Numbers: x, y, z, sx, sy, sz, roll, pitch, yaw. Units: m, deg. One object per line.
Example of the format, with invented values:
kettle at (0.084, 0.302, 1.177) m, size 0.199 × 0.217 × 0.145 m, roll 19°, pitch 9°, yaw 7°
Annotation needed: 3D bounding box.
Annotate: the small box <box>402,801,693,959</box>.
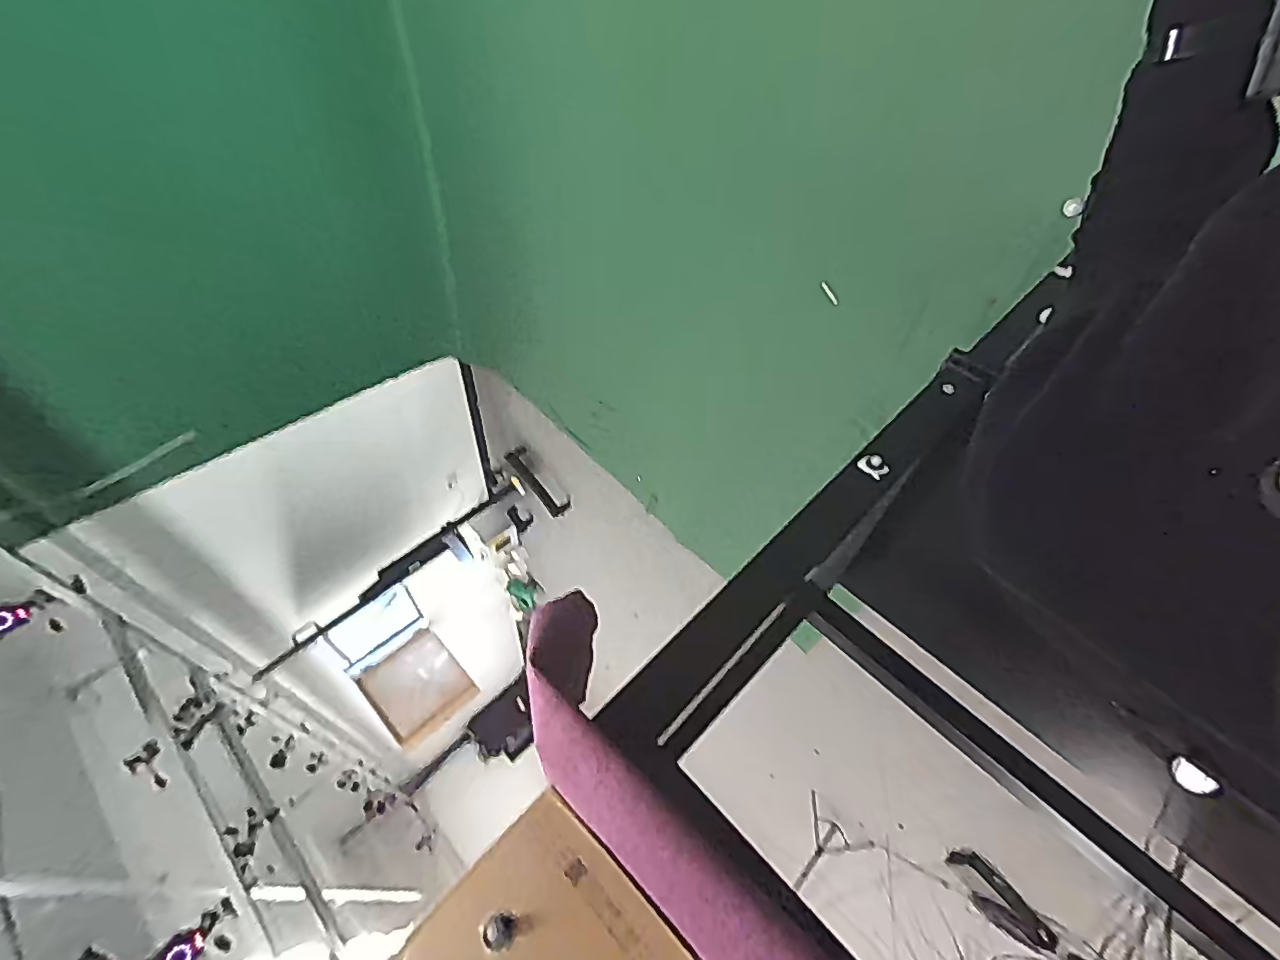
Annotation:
small box at (-0.071, 0.393, 0.434) m, size 0.168 × 0.176 × 0.179 m, roll 38°, pitch 150°, yaw 24°
